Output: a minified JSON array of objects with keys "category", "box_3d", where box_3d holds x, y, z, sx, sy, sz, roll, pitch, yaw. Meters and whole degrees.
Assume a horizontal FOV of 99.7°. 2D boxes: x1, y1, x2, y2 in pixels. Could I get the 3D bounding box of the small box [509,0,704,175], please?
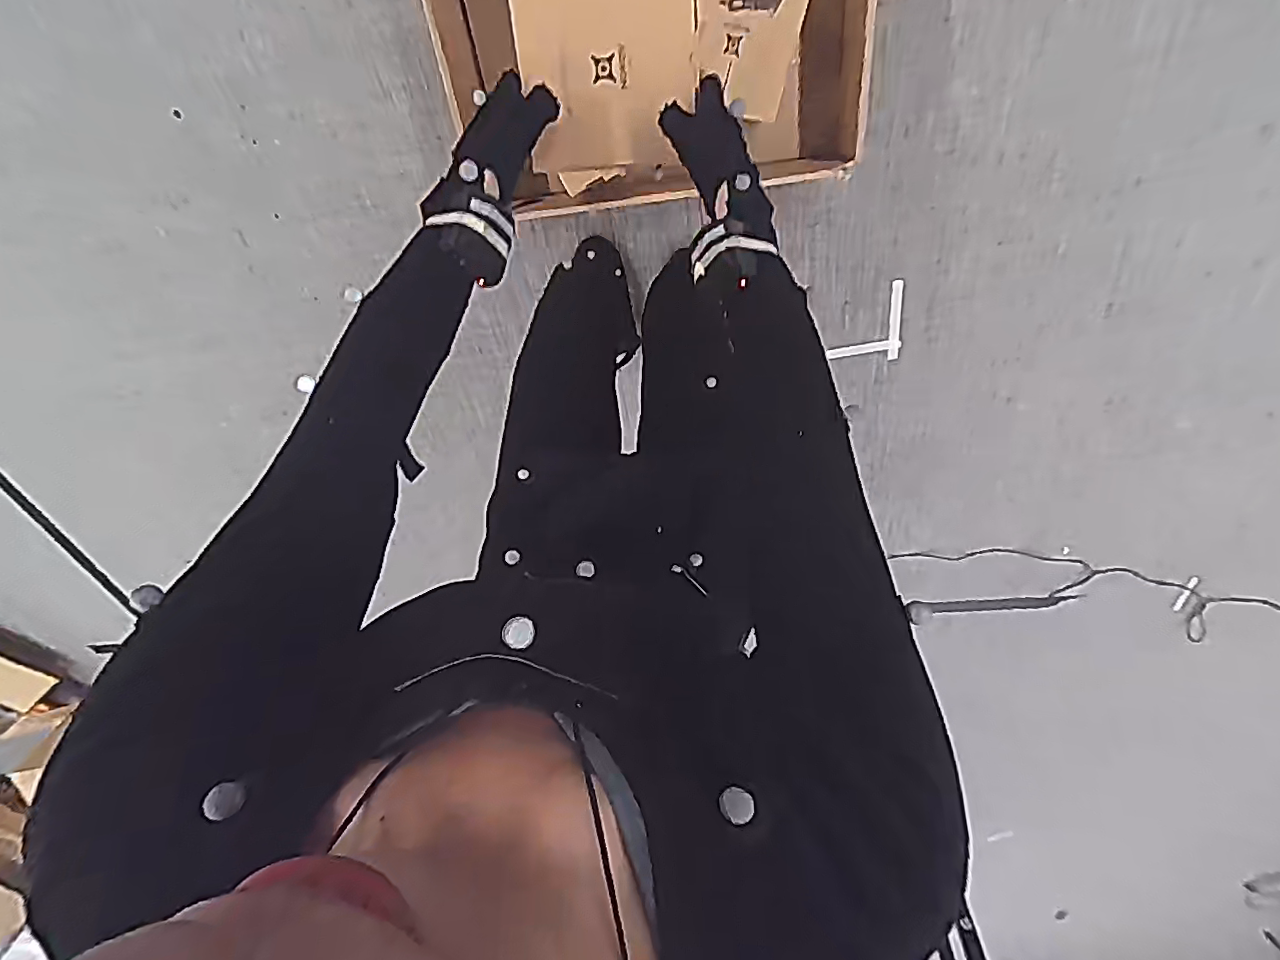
[{"category":"small box","box_3d":[-0.026,-0.424,0.575,0.179,0.176,0.168,-2,118,4]}]
